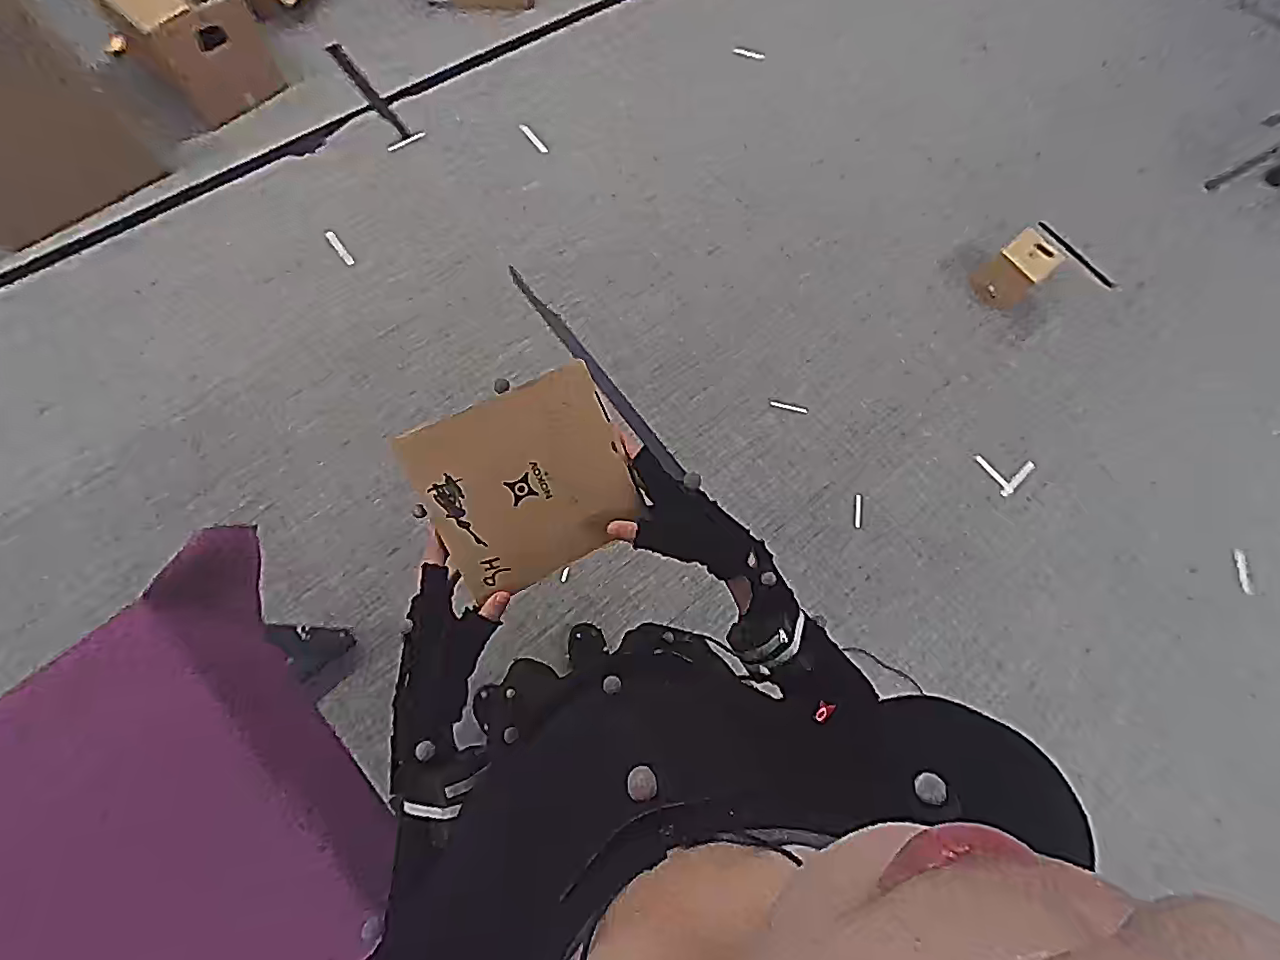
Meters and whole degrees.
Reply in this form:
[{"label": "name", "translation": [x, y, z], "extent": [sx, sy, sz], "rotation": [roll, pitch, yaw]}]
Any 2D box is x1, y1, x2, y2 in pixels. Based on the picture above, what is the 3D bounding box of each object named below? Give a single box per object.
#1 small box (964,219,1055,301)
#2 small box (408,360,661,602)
[{"label": "small box", "translation": [1.315, -0.783, 1.937], "extent": [0.179, 0.176, 0.168], "rotation": [-39, 81, -14]}, {"label": "small box", "translation": [-0.105, -0.010, 0.545], "extent": [0.179, 0.176, 0.168], "rotation": [-24, 102, -10]}]
